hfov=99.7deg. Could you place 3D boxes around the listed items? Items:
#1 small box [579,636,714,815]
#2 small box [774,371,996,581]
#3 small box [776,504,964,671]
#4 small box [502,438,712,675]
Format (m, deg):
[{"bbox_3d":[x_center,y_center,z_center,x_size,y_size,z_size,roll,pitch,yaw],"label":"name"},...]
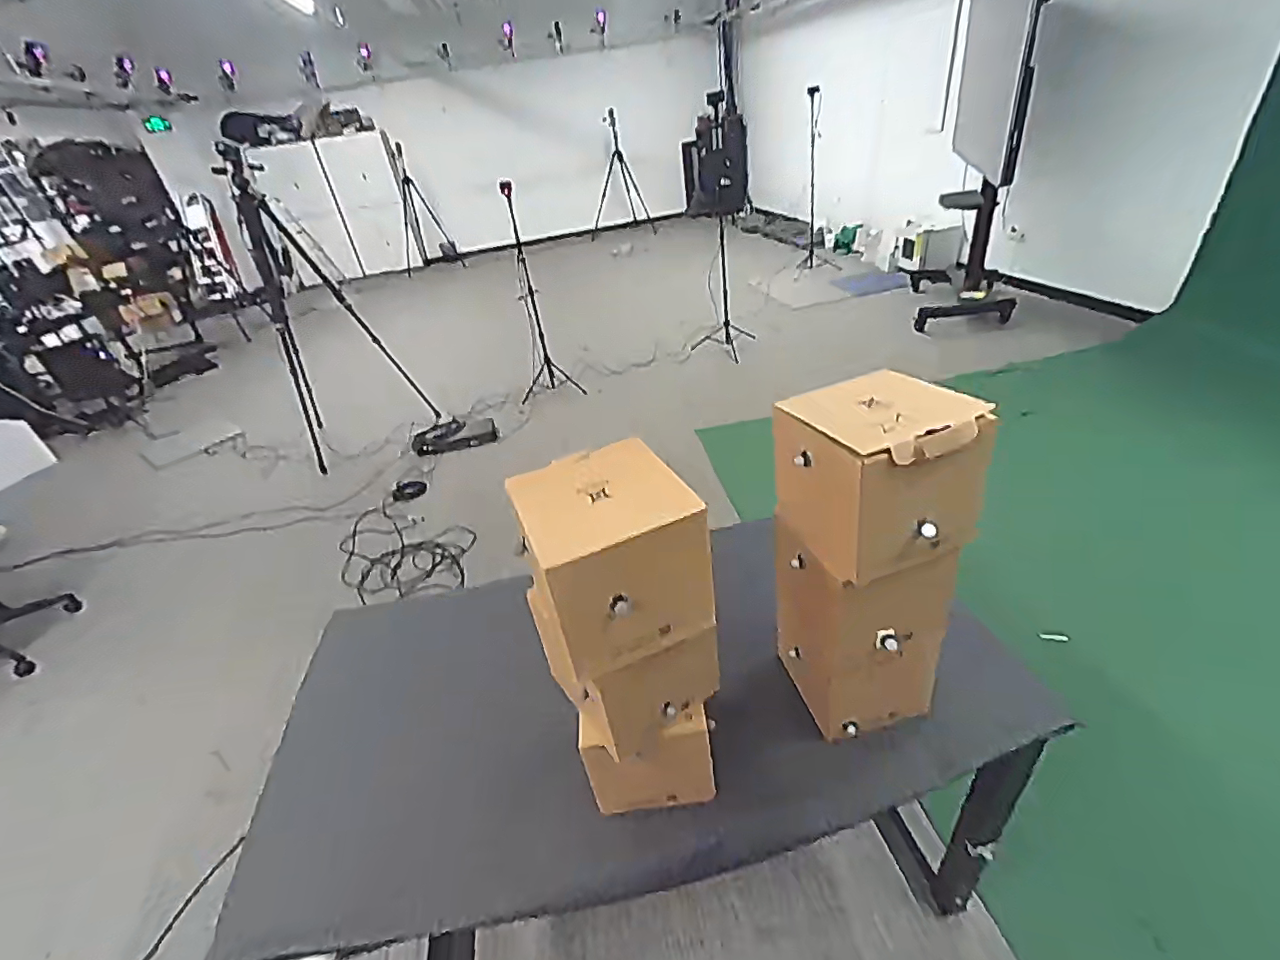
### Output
[{"bbox_3d":[0.010,0.346,0.784,0.168,0.176,0.179,-9,32,1],"label":"small box"},{"bbox_3d":[0.278,-0.010,0.651,0.168,0.176,0.179,-19,32,-10],"label":"small box"},{"bbox_3d":[0.300,0.125,0.744,0.168,0.176,0.179,-17,33,-8],"label":"small box"},{"bbox_3d":[-0.033,0.084,0.592,0.168,0.176,0.179,-20,34,-16],"label":"small box"}]
